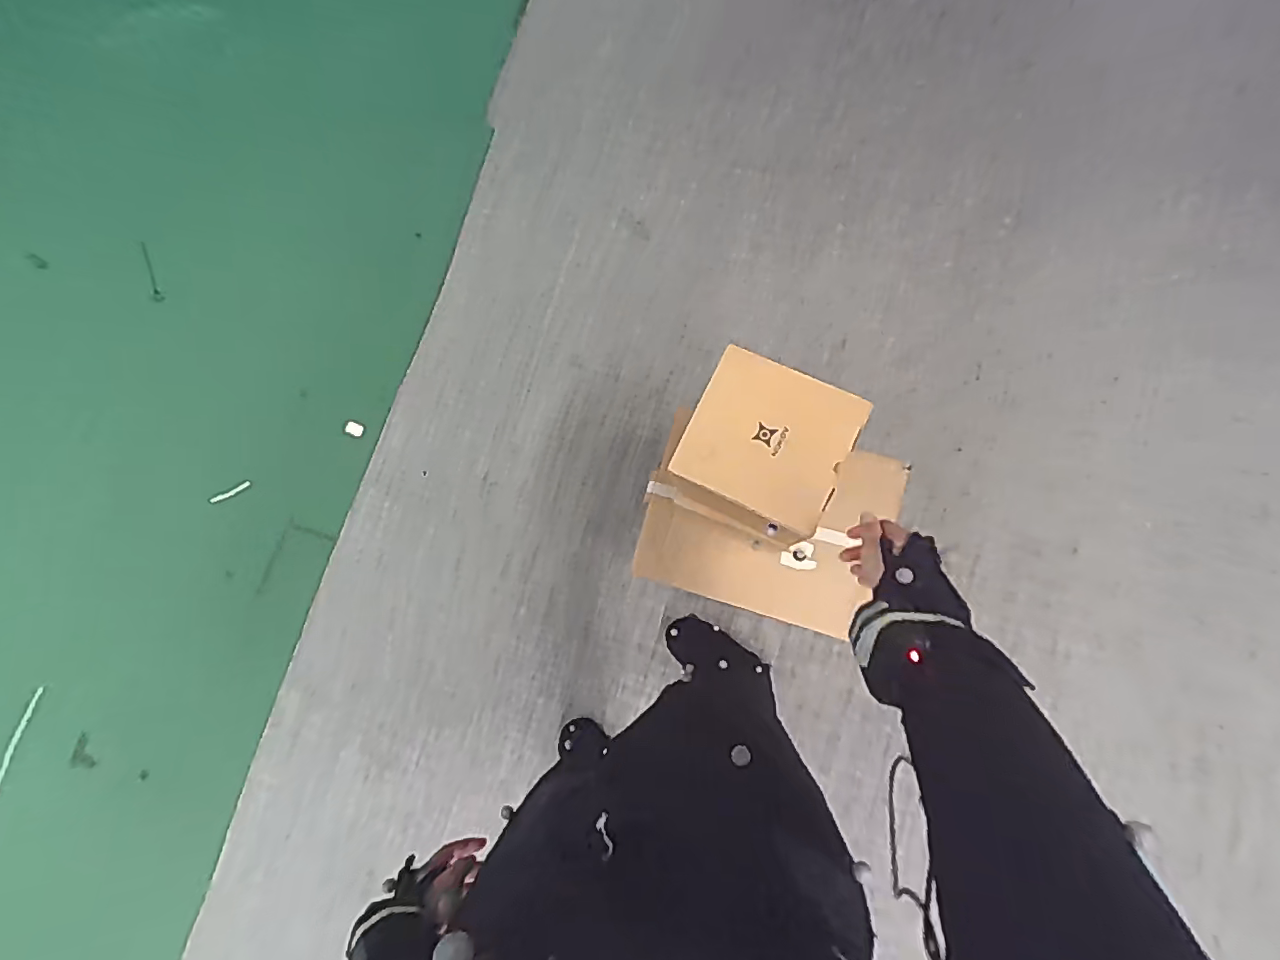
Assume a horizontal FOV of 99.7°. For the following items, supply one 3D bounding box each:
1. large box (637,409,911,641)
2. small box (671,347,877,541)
[{"bbox_3d":[0.238,0.089,1.056,0.408,0.320,0.320,16,84,9],"label":"large box"},{"bbox_3d":[0.155,-0.031,0.672,0.179,0.176,0.168,26,84,10],"label":"small box"}]
